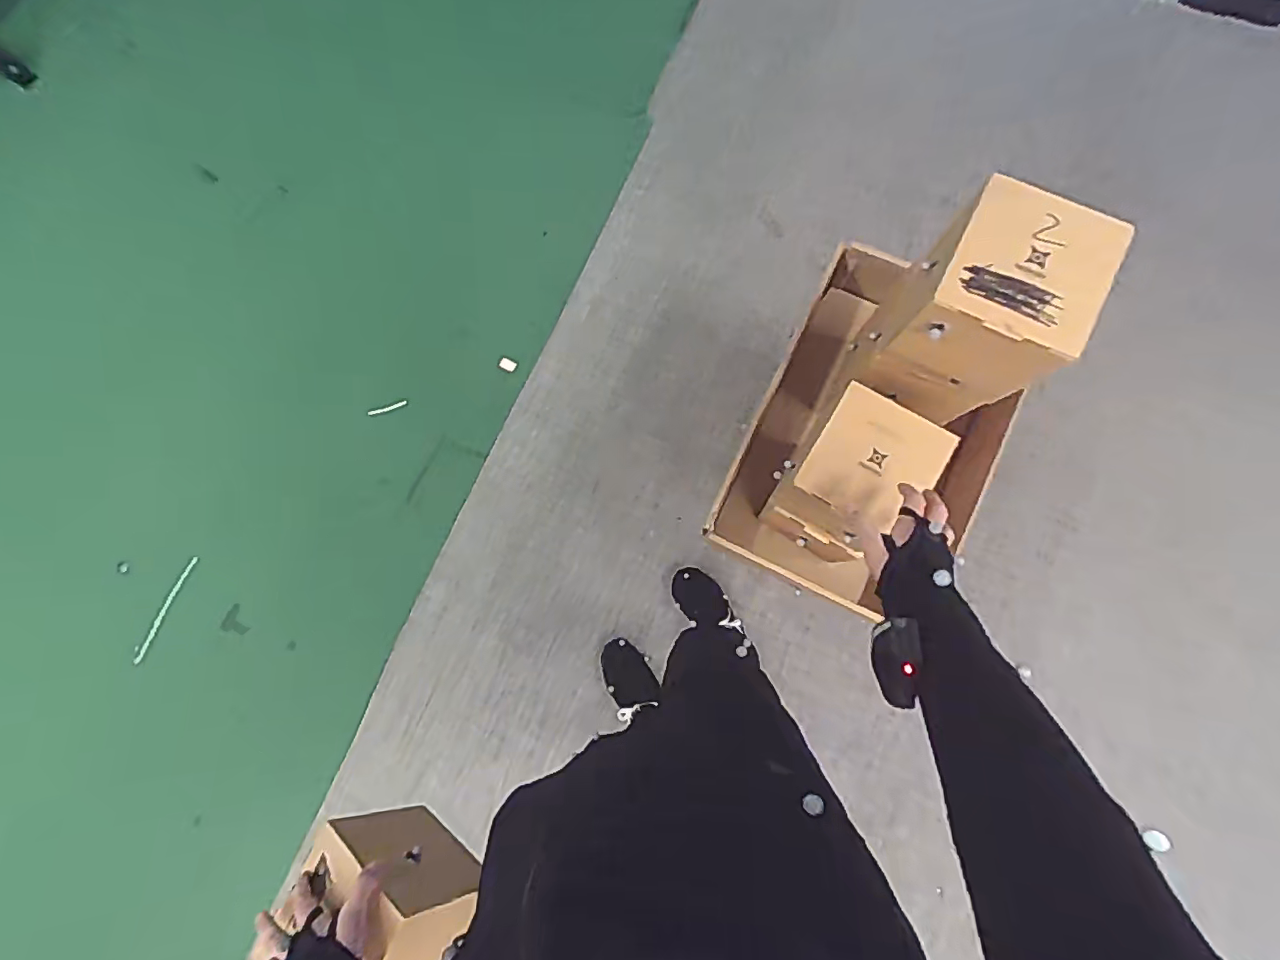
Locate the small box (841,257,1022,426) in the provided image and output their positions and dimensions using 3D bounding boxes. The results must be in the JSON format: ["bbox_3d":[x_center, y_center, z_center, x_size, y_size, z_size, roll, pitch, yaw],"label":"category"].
[{"bbox_3d":[0.442,-0.206,0.851,0.168,0.176,0.179,25,85,6],"label":"small box"}]

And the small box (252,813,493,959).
[{"bbox_3d":[-0.325,0.551,0.681,0.179,0.176,0.168,19,77,30],"label":"small box"}]

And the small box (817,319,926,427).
[{"bbox_3d":[0.452,-0.184,1.011,0.168,0.176,0.179,26,84,7],"label":"small box"}]

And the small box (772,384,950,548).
[{"bbox_3d":[0.317,-0.009,0.820,0.168,0.176,0.179,32,82,7],"label":"small box"}]
